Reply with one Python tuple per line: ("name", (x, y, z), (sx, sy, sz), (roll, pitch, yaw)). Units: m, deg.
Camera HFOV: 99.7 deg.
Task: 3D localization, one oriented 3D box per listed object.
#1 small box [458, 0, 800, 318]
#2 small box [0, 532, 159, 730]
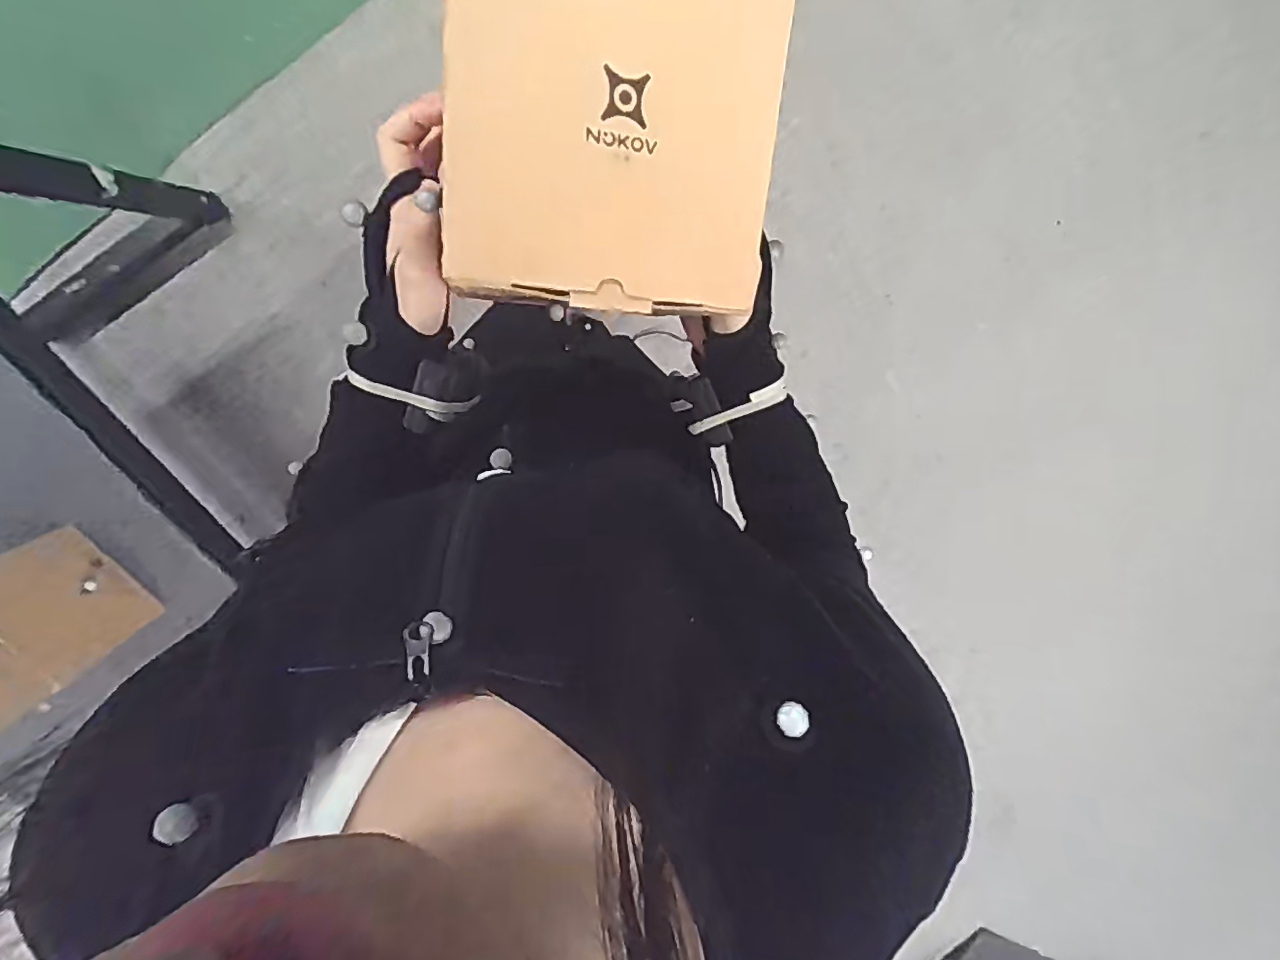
("small box", (-0.026, -0.200, 0.339), (0.168, 0.176, 0.179), (0, 107, -17))
("small box", (-0.799, 0.199, 0.700), (0.179, 0.176, 0.168), (-31, 109, 8))
